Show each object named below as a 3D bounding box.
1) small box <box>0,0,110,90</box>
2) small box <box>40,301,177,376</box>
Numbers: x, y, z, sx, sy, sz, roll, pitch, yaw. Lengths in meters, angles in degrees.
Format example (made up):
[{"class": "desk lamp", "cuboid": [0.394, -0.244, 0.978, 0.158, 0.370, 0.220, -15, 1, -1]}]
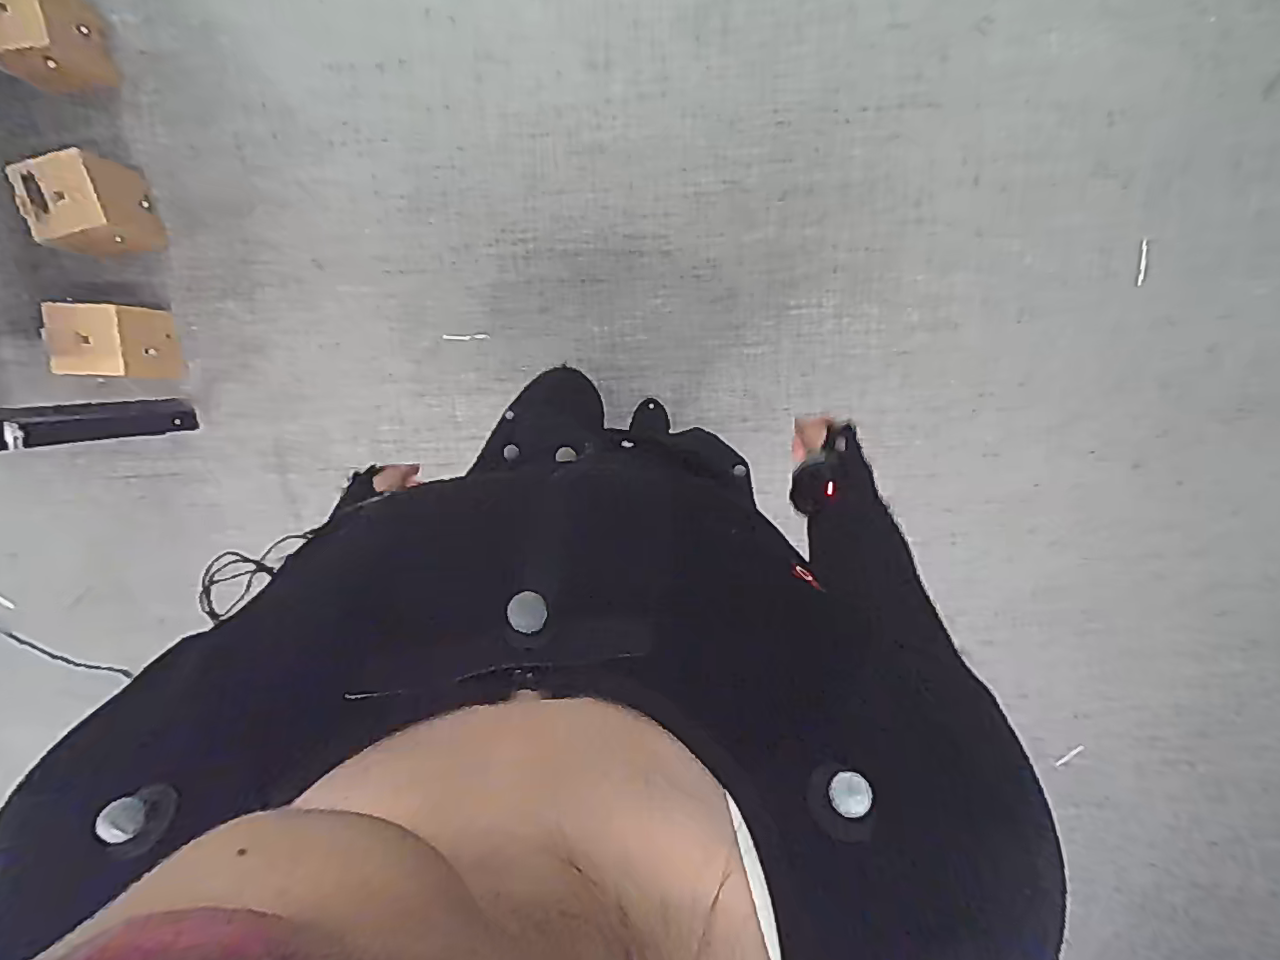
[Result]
[{"class": "small box", "cuboid": [-1.350, -1.011, 1.208, 0.179, 0.176, 0.168, -8, 100, 1]}, {"class": "small box", "cuboid": [-1.297, -0.346, 1.339, 0.179, 0.176, 0.168, 1, 101, 0]}]
